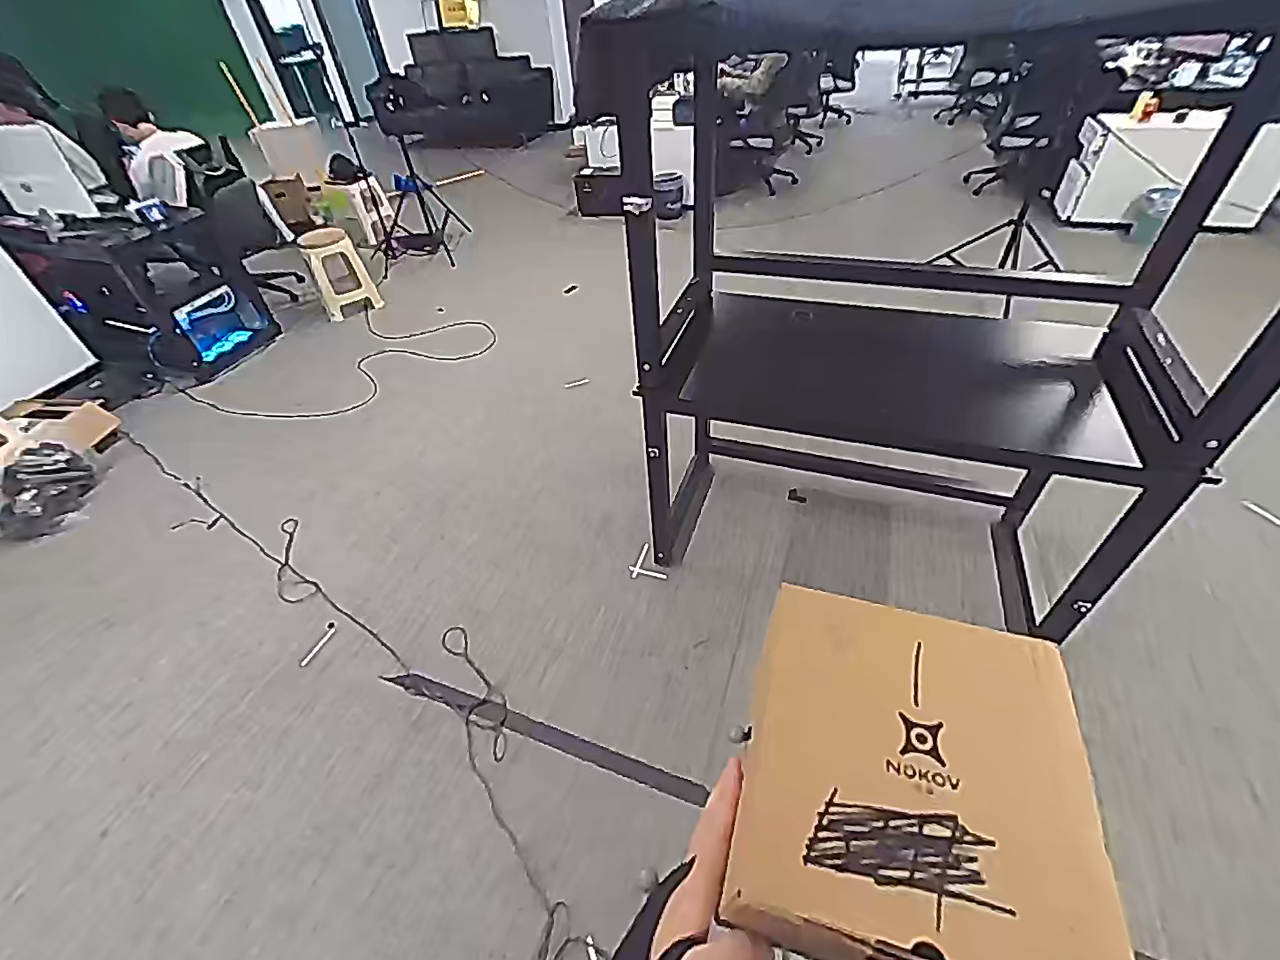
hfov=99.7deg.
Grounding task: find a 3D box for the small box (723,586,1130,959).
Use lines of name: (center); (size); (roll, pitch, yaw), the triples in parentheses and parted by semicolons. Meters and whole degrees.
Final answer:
small box: (0.151, 0.200, 0.344); (0.168, 0.176, 0.179); (11, 48, 12)
